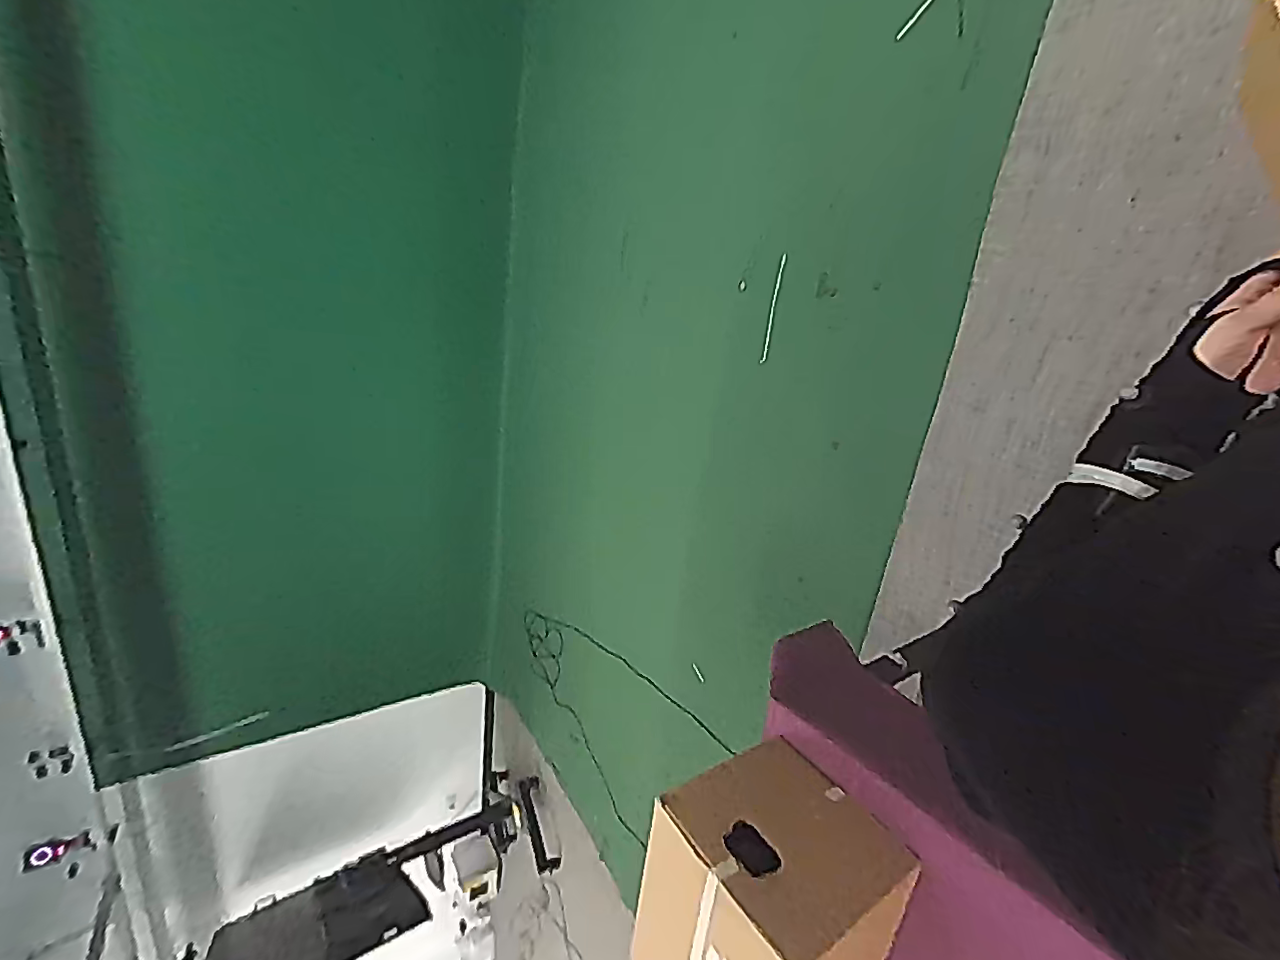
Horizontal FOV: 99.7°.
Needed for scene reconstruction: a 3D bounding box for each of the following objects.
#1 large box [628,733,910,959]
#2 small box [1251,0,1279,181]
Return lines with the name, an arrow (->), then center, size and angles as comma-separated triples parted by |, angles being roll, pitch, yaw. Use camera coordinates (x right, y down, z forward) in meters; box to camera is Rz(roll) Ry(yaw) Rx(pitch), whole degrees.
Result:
large box -> 0.208, 0.749, 0.951 | 0.320, 0.320, 0.408 | 29, 116, 49
small box -> 0.456, -0.218, 0.271 | 0.168, 0.176, 0.179 | -17, 81, 44
